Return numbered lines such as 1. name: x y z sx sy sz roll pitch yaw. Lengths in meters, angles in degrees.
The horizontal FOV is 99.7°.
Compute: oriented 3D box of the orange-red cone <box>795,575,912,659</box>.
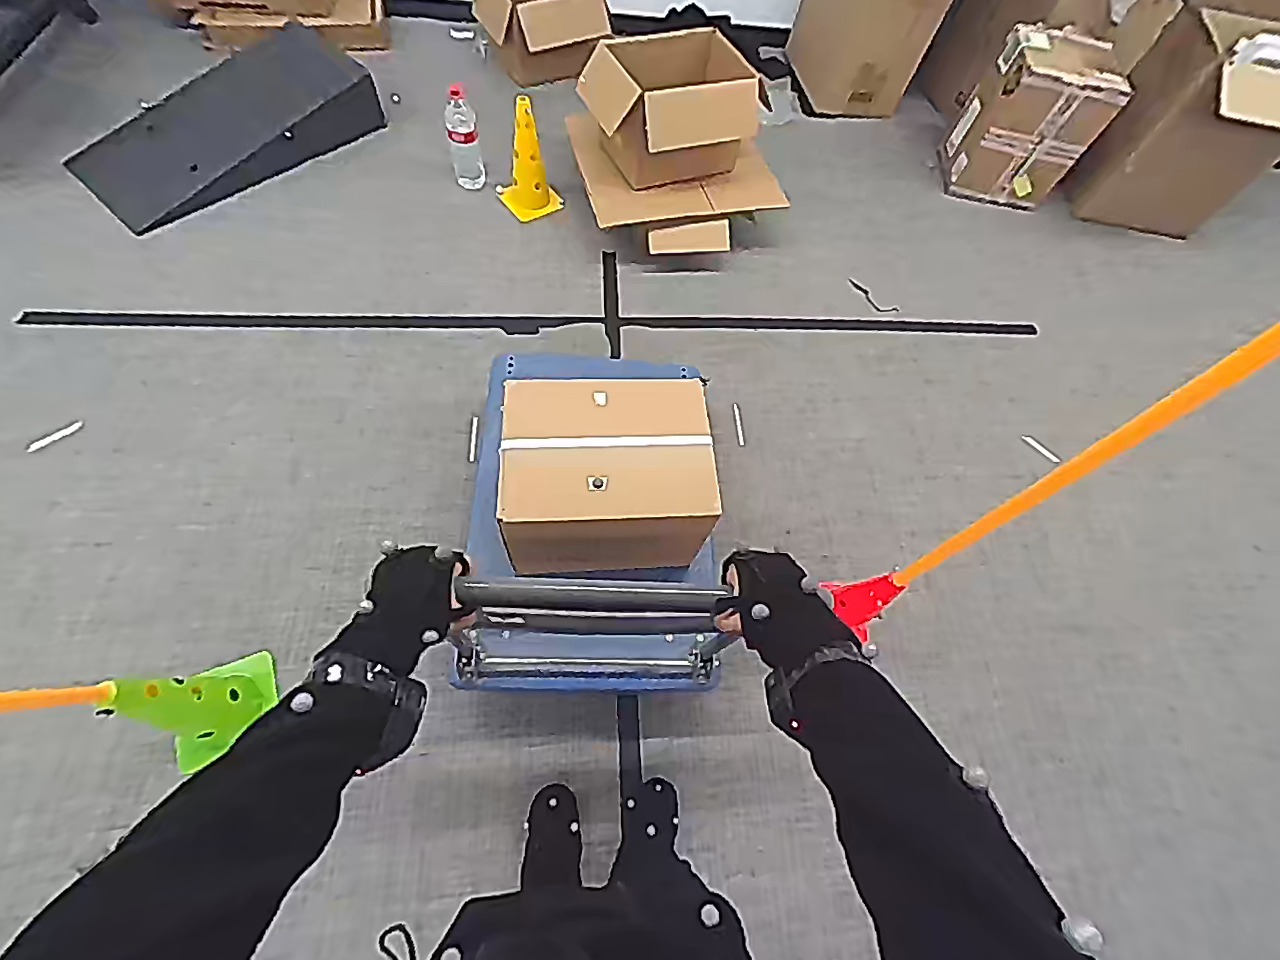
1. orange-red cone: 0.525 0.288 1.266 0.199 0.360 0.198 5 63 -5
